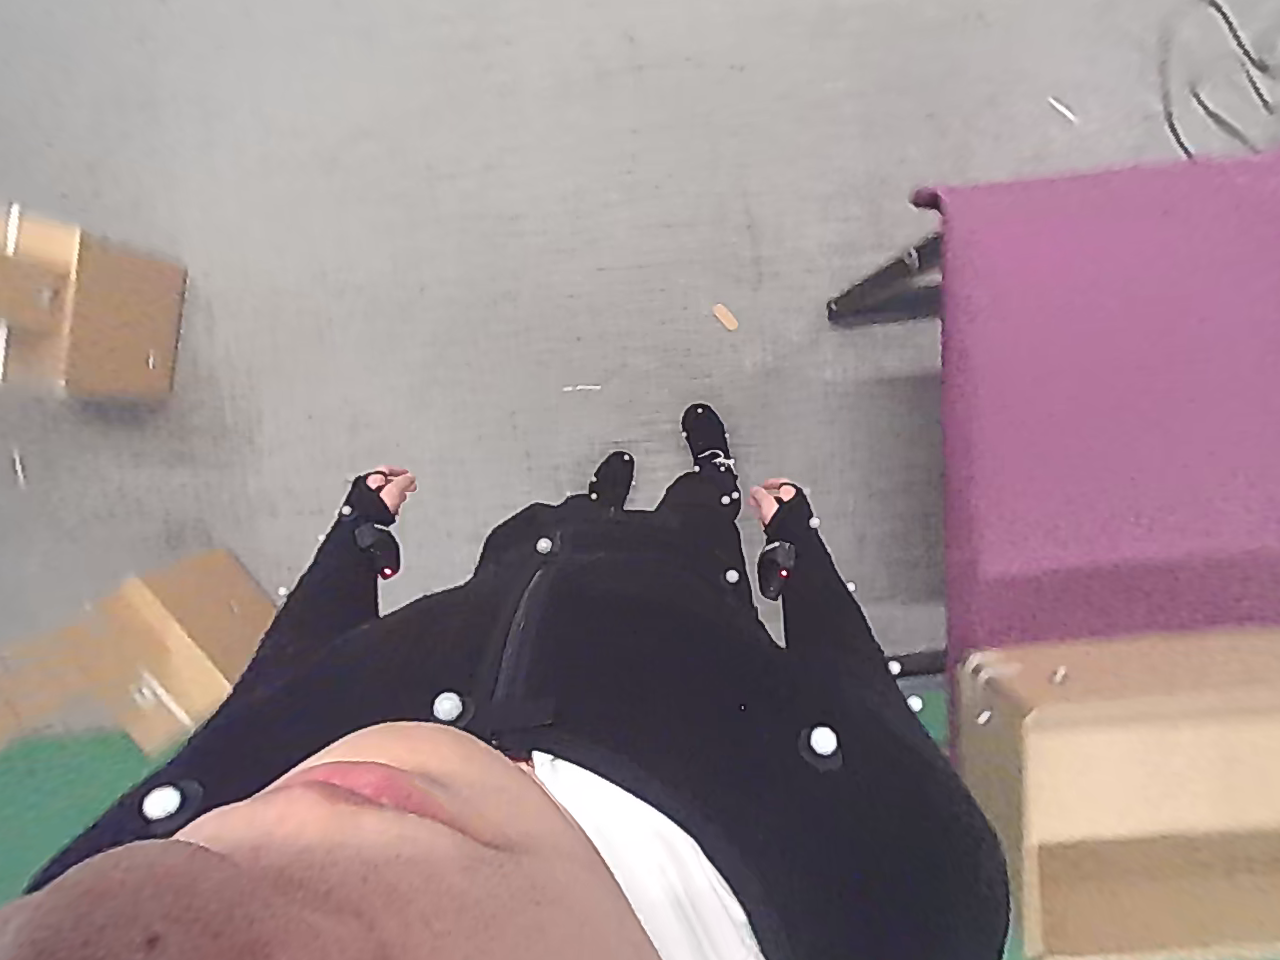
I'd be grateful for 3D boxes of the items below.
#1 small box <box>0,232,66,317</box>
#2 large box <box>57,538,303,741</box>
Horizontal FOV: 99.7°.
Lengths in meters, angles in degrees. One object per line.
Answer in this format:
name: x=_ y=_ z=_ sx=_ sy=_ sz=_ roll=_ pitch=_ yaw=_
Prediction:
small box: x=-1.464 y=-0.476 z=1.205 sx=0.179 sy=0.176 sz=0.168 roll=17 pitch=97 yaw=-3
large box: x=-1.304 y=0.438 z=1.561 sx=0.320 sy=0.320 sz=0.408 roll=-36 pitch=96 yaw=6
